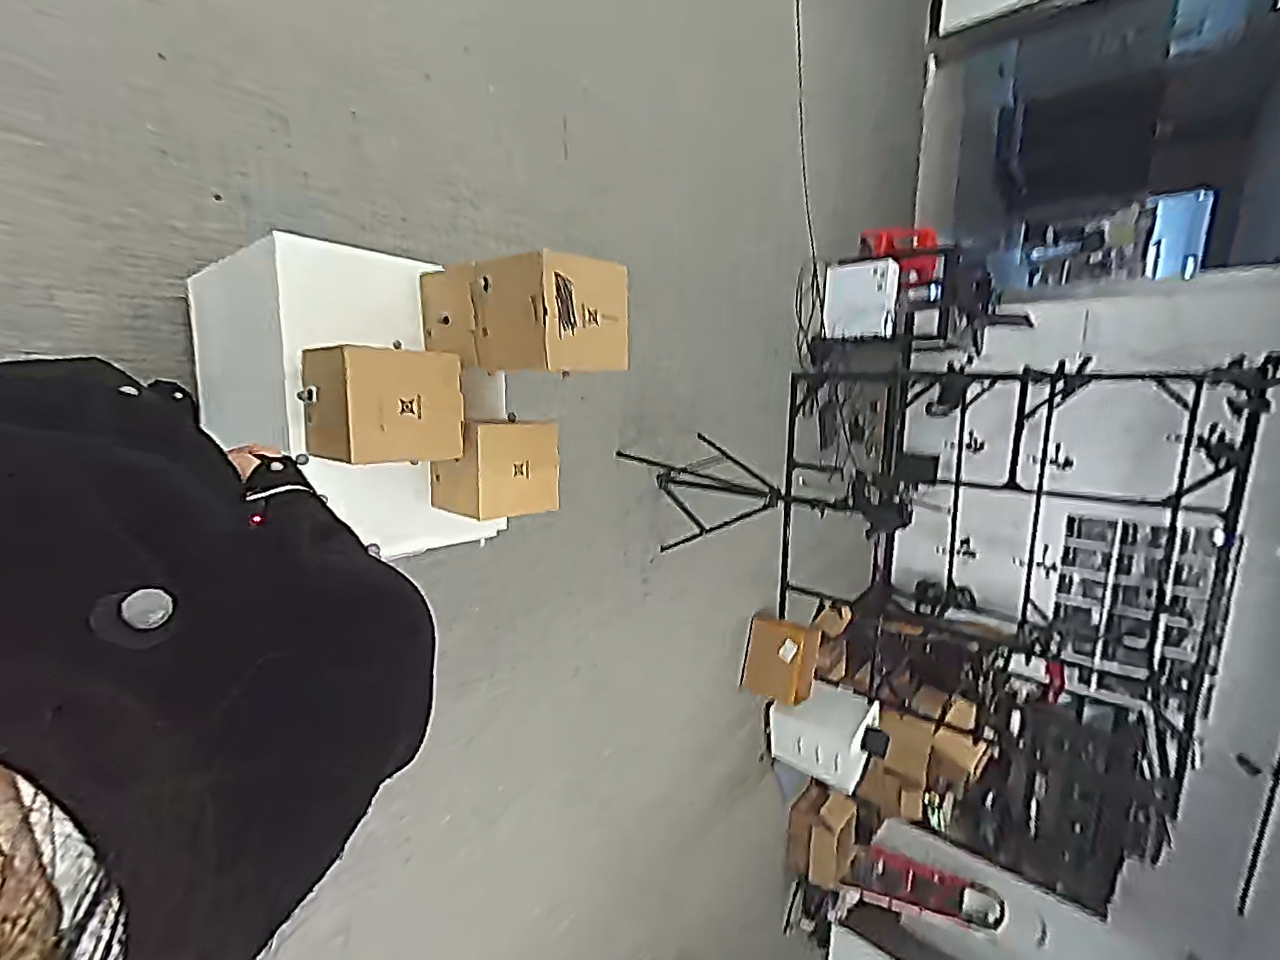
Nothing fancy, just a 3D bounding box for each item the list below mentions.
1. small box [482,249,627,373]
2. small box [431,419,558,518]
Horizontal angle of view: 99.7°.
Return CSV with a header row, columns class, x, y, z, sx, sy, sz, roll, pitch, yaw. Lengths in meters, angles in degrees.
class,x,y,z,sx,sy,sz,roll,pitch,yaw
small box,-0.140,-0.258,0.868,0.179,0.176,0.168,-13,107,-48
small box,-0.274,-0.028,1.013,0.179,0.176,0.168,-7,102,-49
